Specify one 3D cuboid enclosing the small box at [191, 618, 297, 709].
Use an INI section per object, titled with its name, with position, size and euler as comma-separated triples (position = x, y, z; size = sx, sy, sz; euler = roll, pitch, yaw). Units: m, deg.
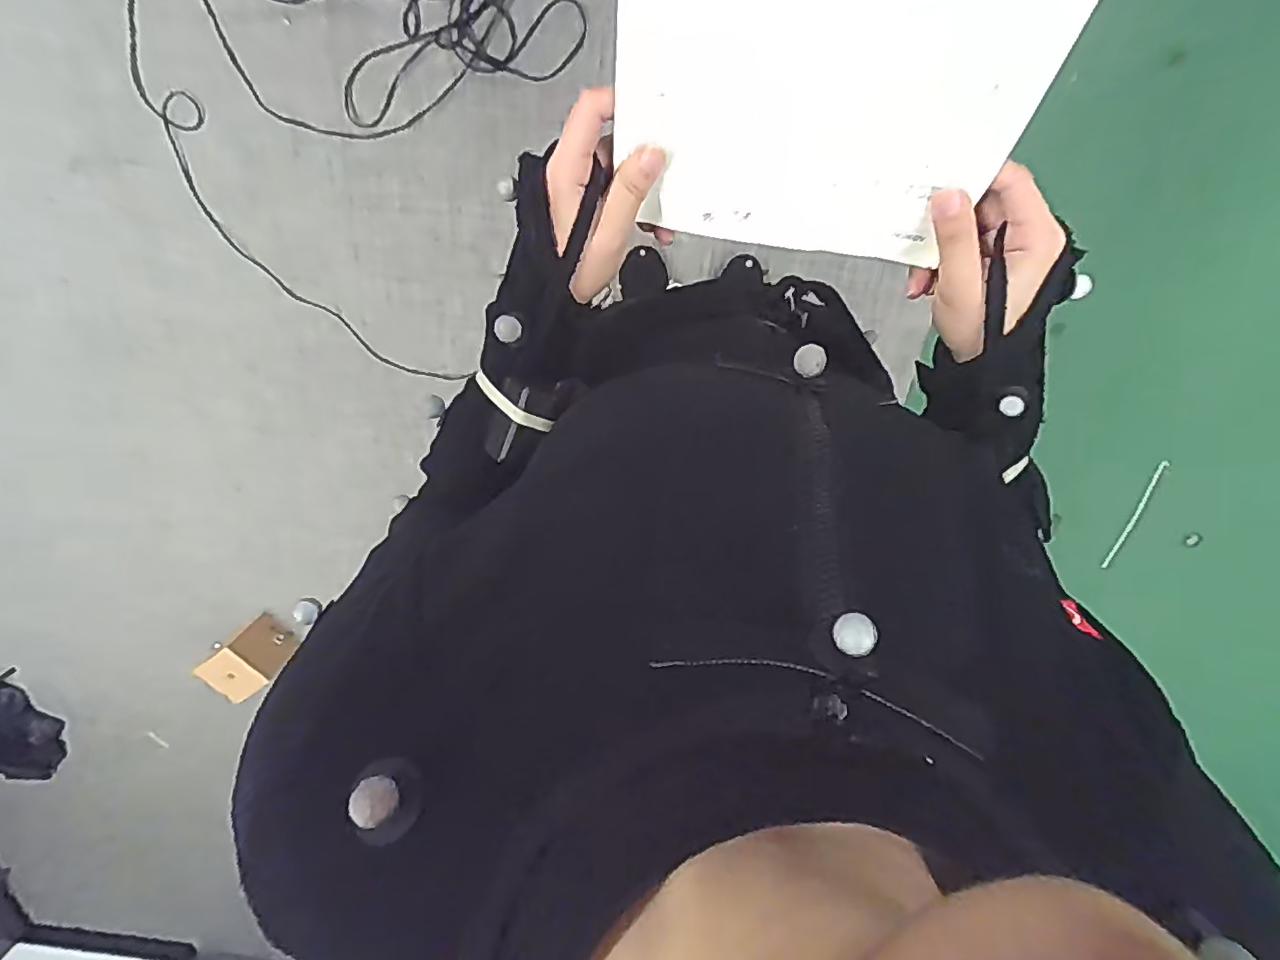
[small box]
position = -1.223, 0.567, 1.685
size = 0.179, 0.176, 0.168
euler = -34, 109, 17
